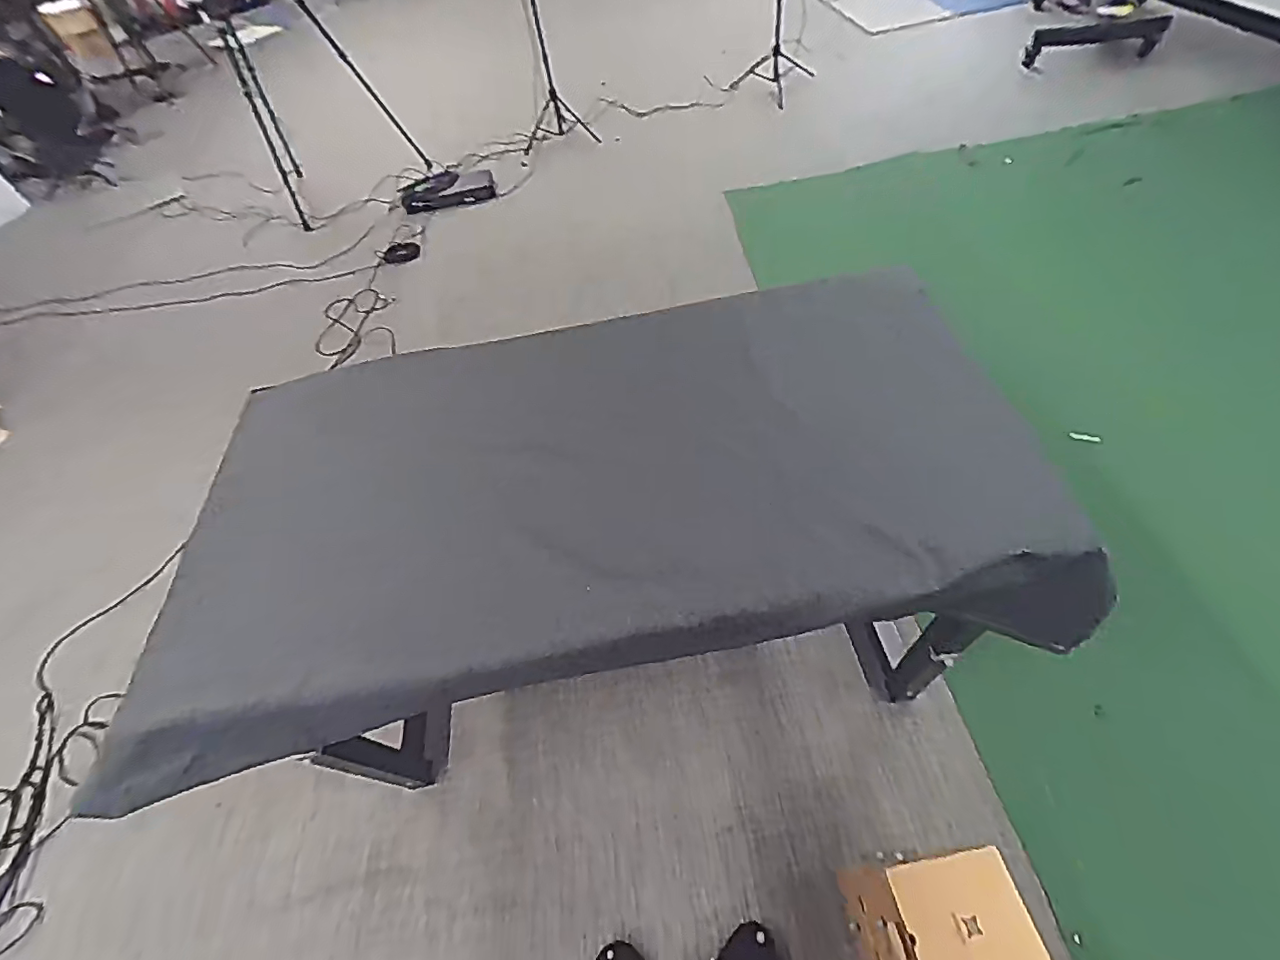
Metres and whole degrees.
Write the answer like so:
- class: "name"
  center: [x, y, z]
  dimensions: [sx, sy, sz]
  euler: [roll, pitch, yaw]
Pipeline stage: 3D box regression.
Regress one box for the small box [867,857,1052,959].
- class: "small box"
  center: [0.470, 0.679, 0.807]
  dimensions: [0.179, 0.176, 0.168]
  euler: [-13, 52, -1]
